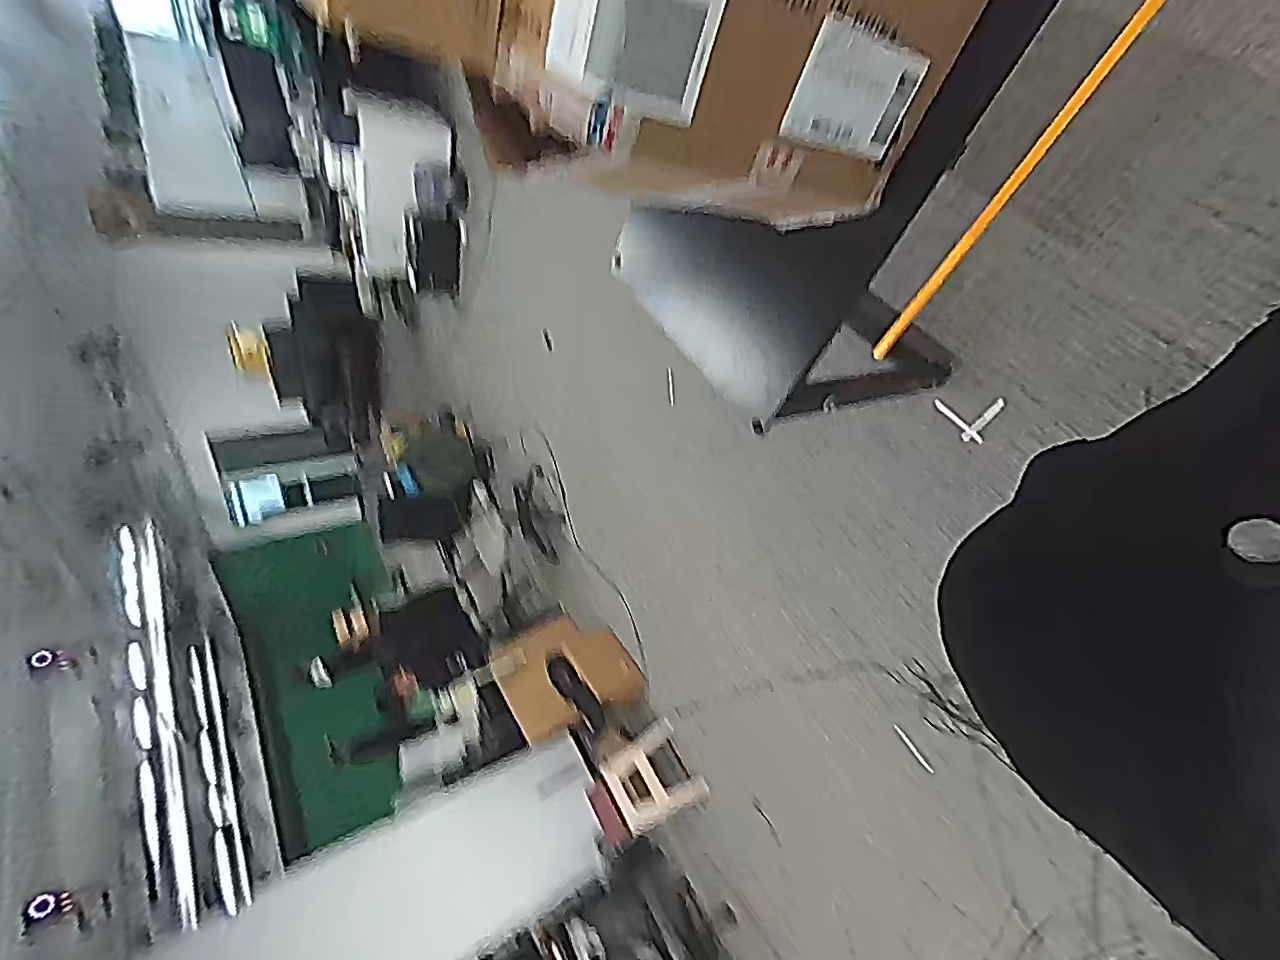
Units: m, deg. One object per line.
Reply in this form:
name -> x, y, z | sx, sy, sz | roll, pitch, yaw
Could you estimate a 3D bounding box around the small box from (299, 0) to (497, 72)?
small box -> -0.254, -0.558, 0.562 | 0.179, 0.176, 0.168 | 53, 137, 33
